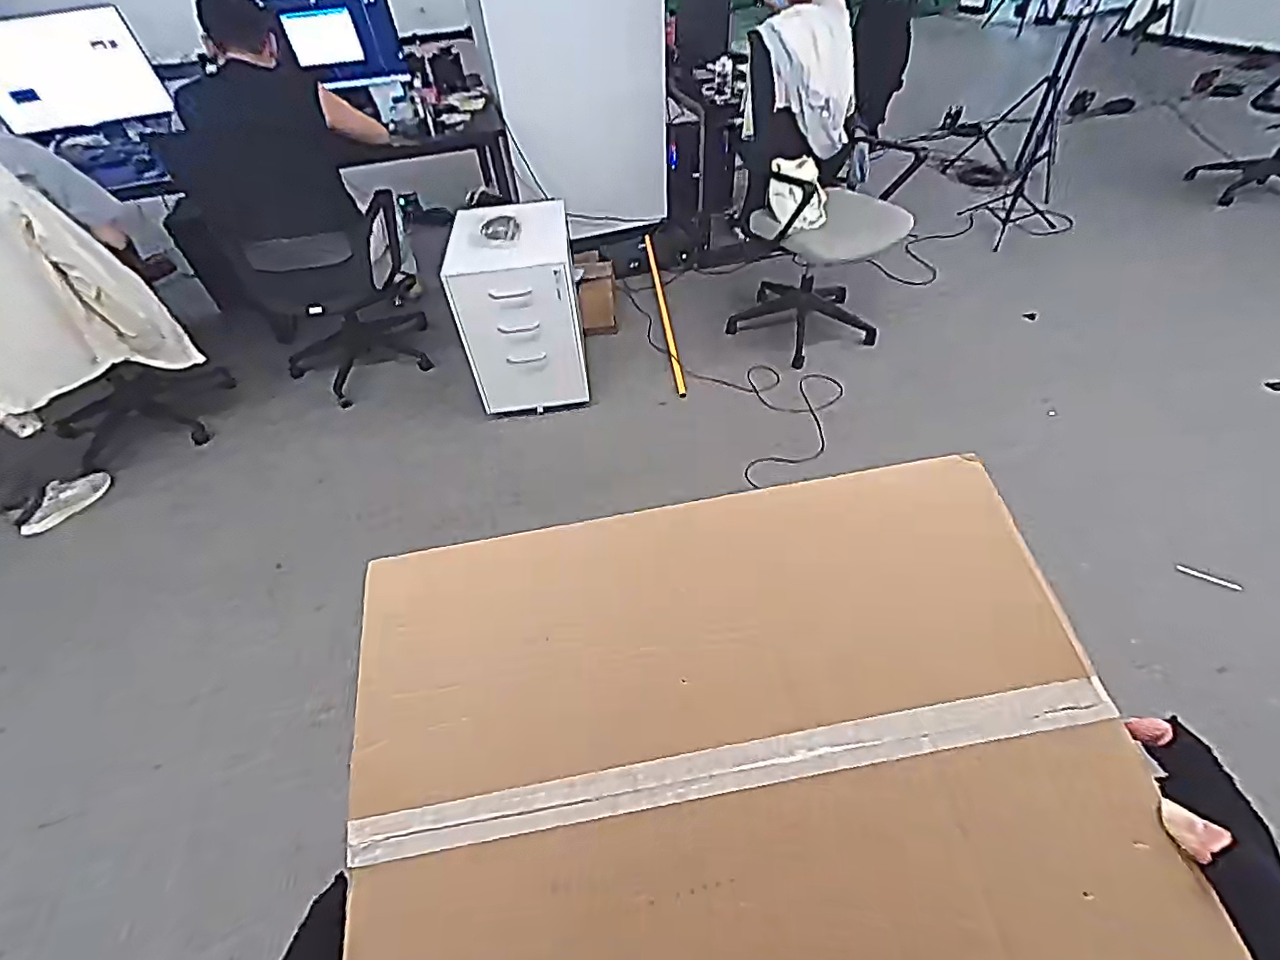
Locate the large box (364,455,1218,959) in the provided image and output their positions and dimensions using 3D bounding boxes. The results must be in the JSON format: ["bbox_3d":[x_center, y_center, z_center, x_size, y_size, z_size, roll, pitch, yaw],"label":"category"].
[{"bbox_3d":[0.057,0.220,0.431,0.408,0.320,0.320,-10,63,-1],"label":"large box"}]
